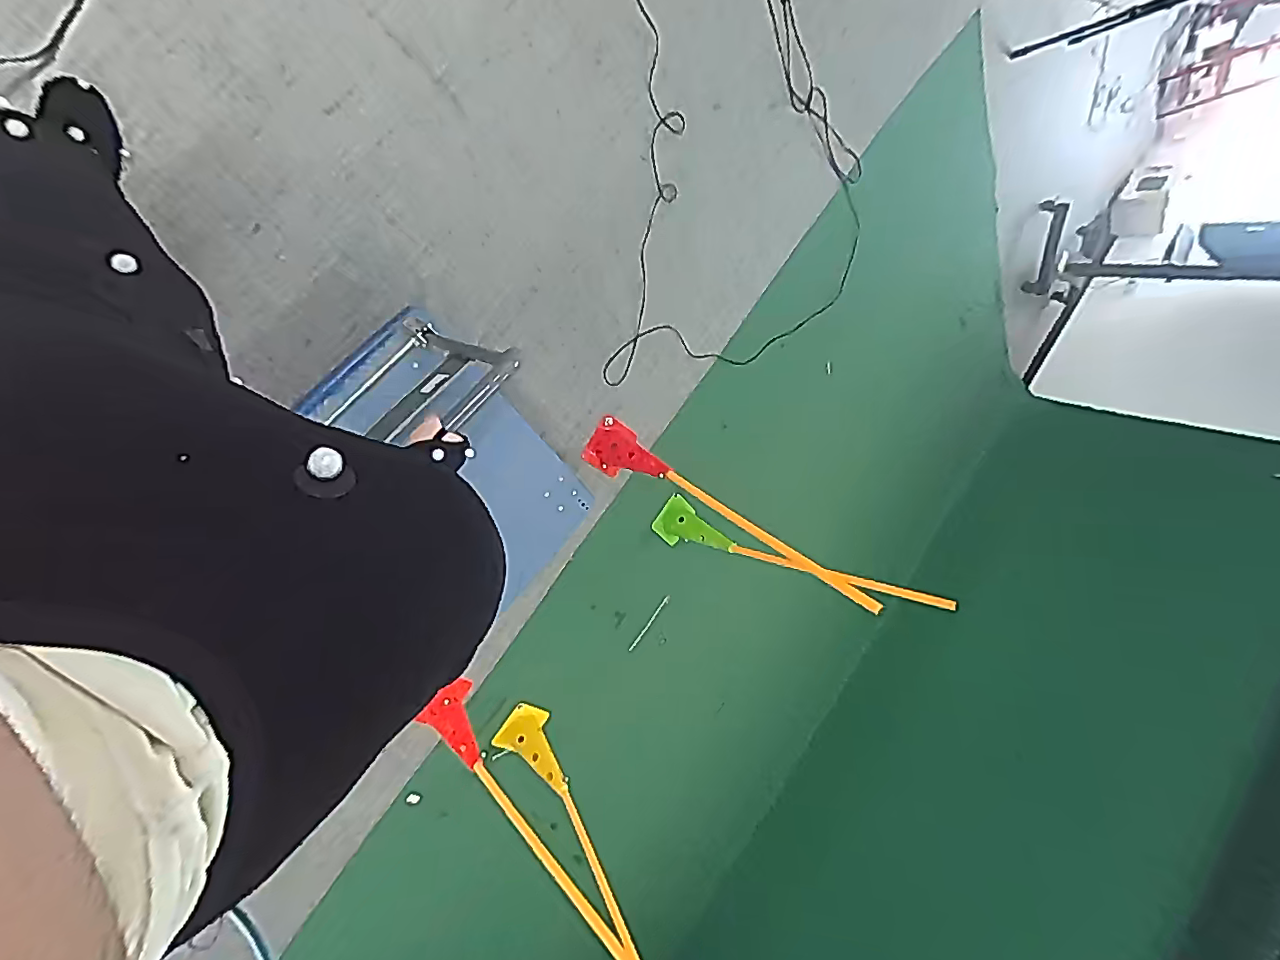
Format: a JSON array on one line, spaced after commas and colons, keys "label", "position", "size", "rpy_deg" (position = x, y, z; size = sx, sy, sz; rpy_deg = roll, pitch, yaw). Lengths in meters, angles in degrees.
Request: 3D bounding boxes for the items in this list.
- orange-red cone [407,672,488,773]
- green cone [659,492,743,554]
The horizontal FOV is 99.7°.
[{"label": "orange-red cone", "position": [-0.603, 0.849, 1.827], "size": [0.198, 0.360, 0.199], "rpy_deg": [-54, 135, -8]}, {"label": "green cone", "position": [0.287, 0.227, 2.314], "size": [0.200, 0.368, 0.202], "rpy_deg": [-55, 134, -9]}]
